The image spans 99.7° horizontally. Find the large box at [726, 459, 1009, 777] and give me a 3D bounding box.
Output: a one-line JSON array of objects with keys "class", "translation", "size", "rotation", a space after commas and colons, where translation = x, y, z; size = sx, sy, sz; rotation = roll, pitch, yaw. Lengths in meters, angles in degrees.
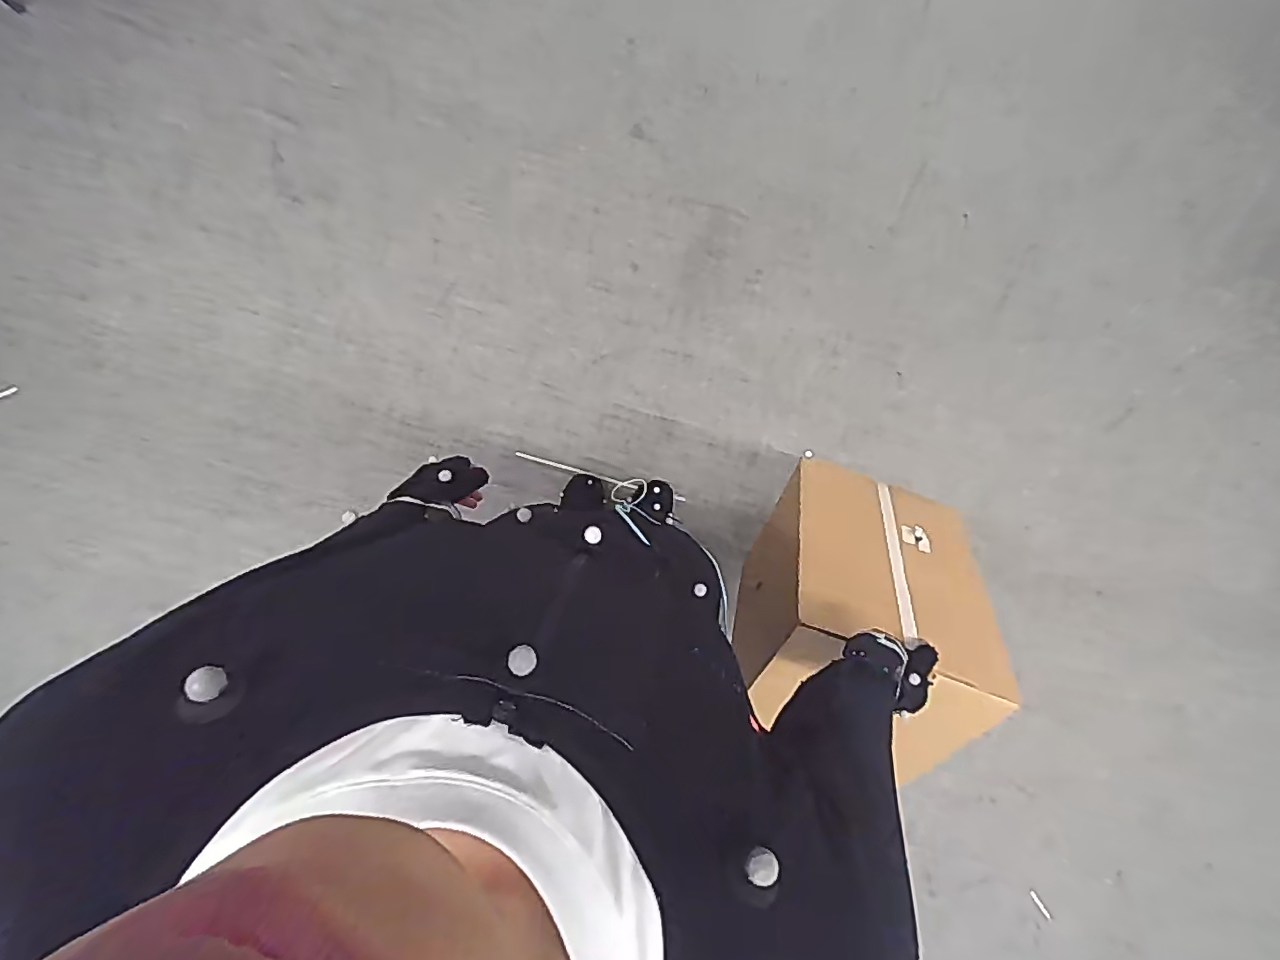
[{"class": "large box", "translation": [0.364, 0.235, 0.976], "size": [0.320, 0.408, 0.320], "rotation": [21, 129, 1]}]
